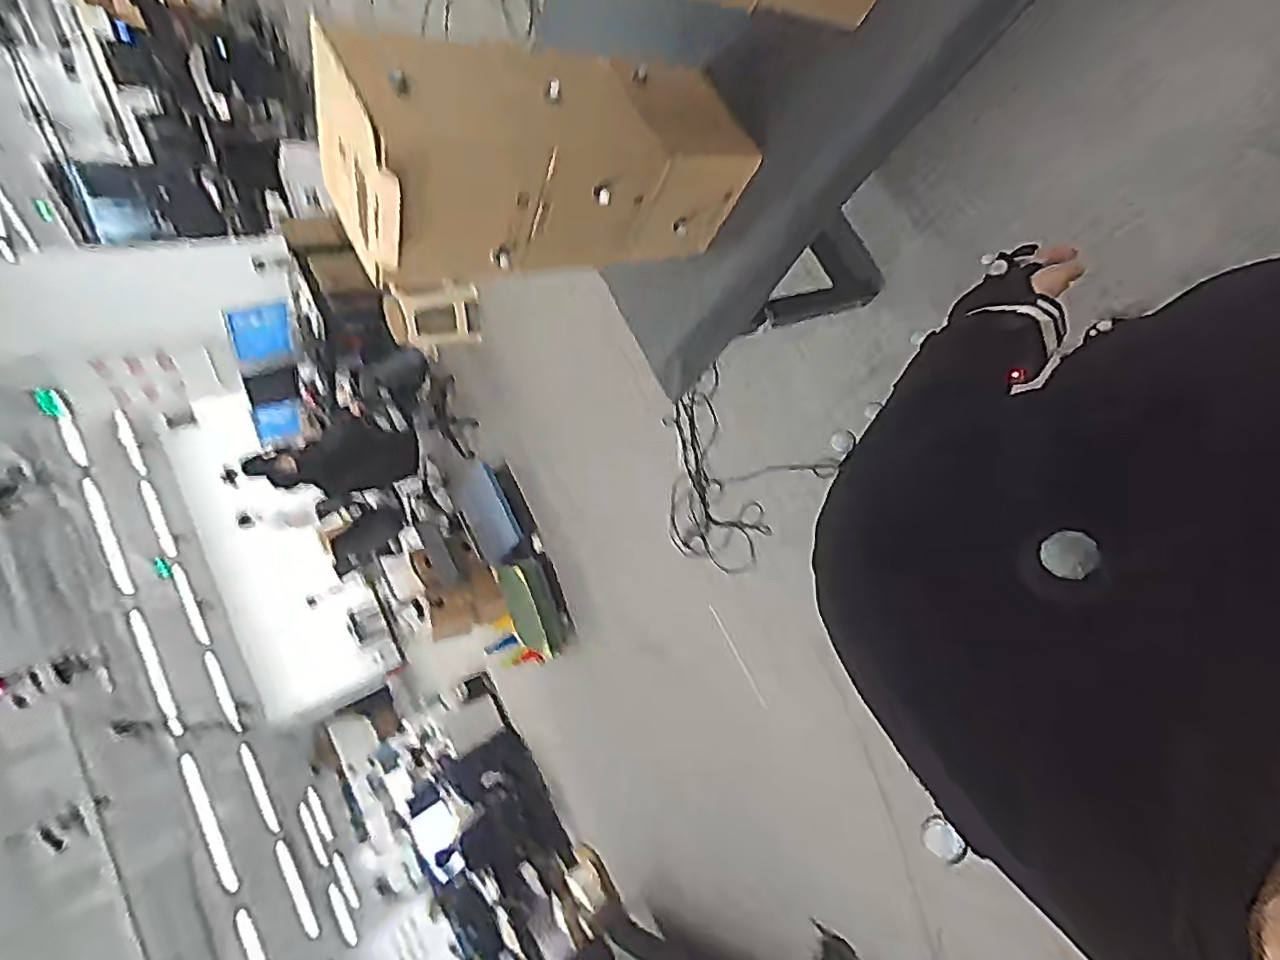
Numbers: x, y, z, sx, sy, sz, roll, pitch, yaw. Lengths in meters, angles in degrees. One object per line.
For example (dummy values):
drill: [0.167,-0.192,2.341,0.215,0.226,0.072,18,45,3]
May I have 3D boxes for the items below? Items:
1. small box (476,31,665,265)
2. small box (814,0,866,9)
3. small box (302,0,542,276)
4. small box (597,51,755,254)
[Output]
small box: [-0.099,-0.393,0.661,0.179,0.176,0.168,60,144,14]
small box: [0.163,-0.580,0.491,0.179,0.176,0.168,61,145,11]
small box: [-0.225,-0.345,0.567,0.179,0.176,0.168,59,143,15]
small box: [0.025,-0.447,0.751,0.179,0.176,0.168,60,145,12]
